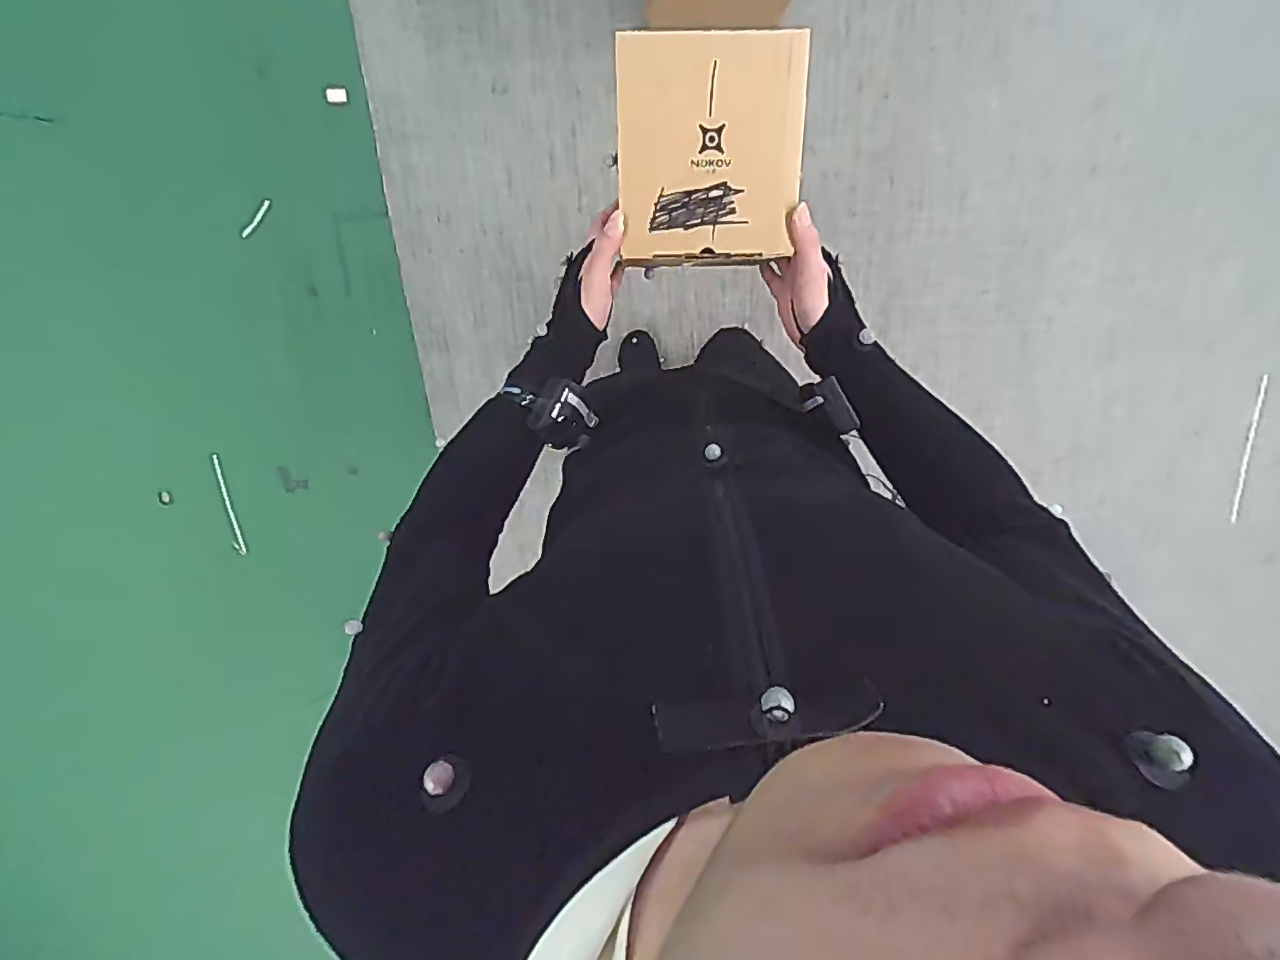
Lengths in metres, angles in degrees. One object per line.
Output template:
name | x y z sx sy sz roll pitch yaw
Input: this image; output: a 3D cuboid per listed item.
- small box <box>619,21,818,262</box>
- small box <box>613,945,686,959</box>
small box | 0.063 -0.316 0.542 0.168 0.176 0.179 -1 108 -2
small box | 0.022 1.137 1.144 0.179 0.176 0.168 -7 107 -1
